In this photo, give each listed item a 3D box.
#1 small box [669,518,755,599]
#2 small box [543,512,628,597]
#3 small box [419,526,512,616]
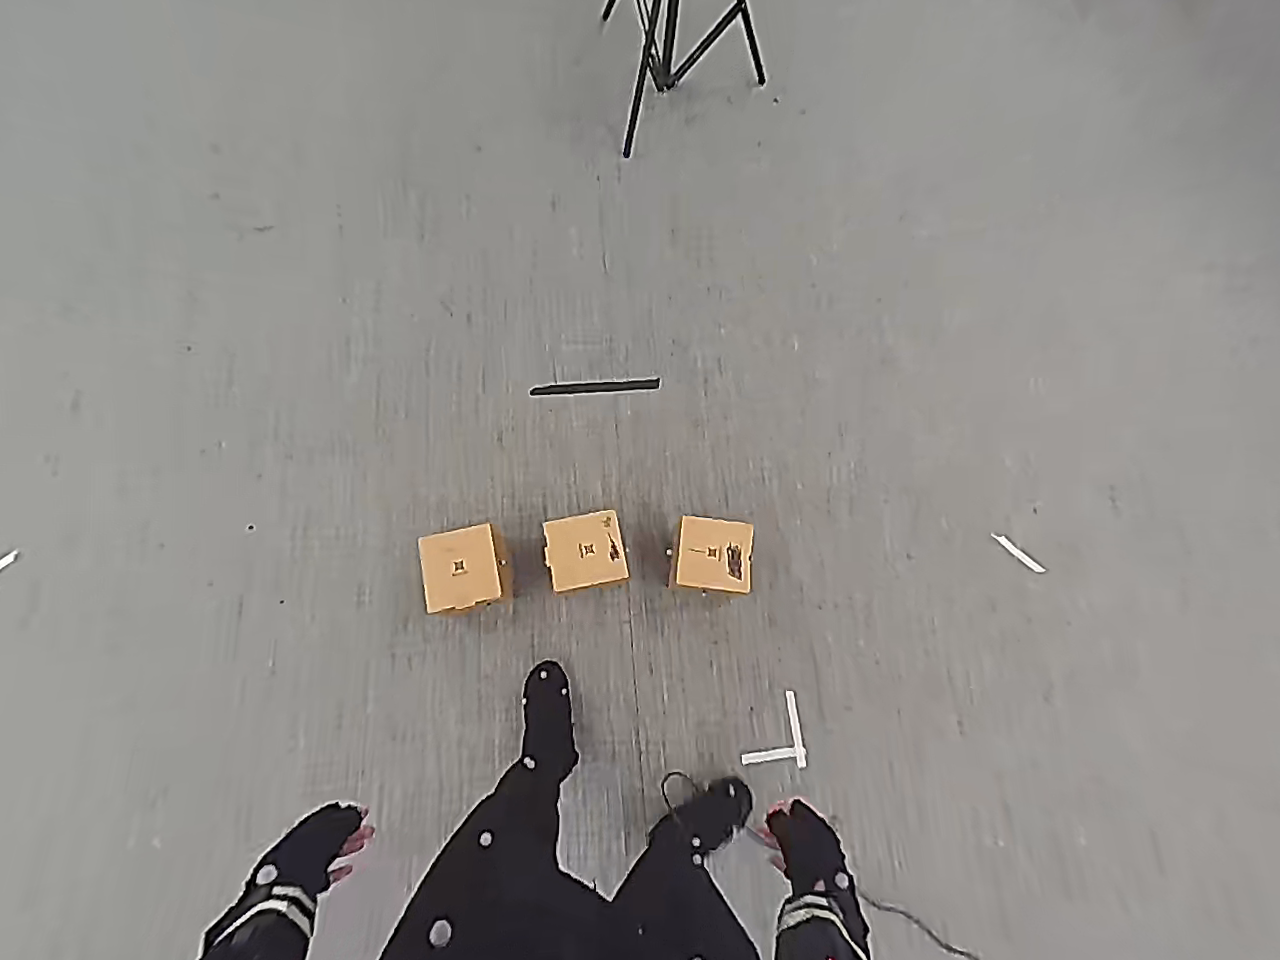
[{"bbox_3d":[0.173,0.201,1.339,0.179,0.176,0.168,8,74,-1],"label":"small box"},{"bbox_3d":[-0.129,0.186,1.321,0.179,0.176,0.168,-10,76,-6],"label":"small box"},{"bbox_3d":[-0.410,0.223,1.293,0.168,0.176,0.179,-12,75,-8],"label":"small box"}]
